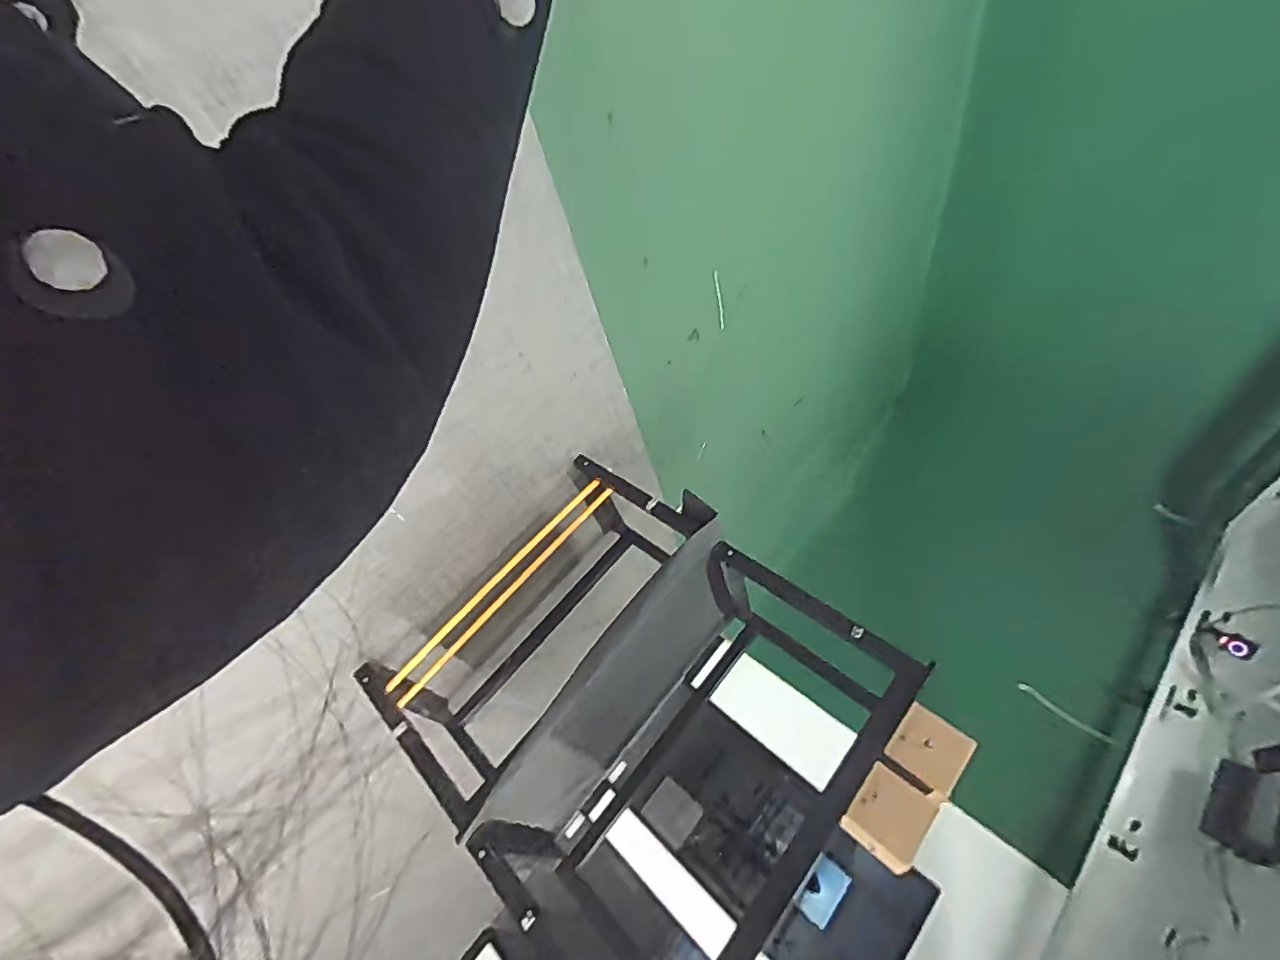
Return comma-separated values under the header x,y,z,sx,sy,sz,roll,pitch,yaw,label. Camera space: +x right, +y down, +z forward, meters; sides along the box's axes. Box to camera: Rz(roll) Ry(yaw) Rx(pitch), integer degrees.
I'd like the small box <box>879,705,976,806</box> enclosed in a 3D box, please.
x,y,z,sx,sy,sz,roll,pitch,yaw,label
0.774,0.745,1.472,0.168,0.176,0.179,-45,144,-18,small box
